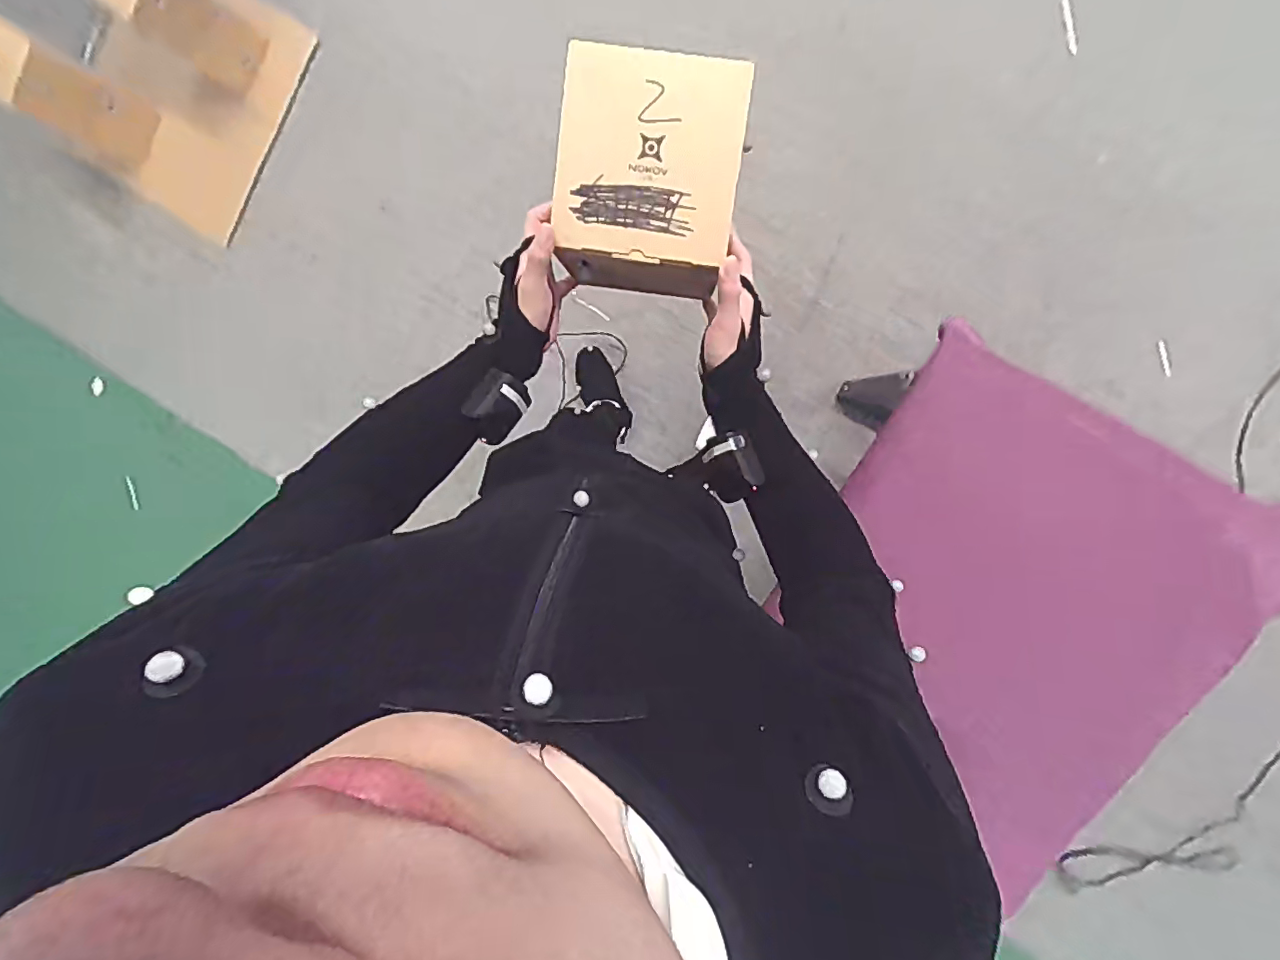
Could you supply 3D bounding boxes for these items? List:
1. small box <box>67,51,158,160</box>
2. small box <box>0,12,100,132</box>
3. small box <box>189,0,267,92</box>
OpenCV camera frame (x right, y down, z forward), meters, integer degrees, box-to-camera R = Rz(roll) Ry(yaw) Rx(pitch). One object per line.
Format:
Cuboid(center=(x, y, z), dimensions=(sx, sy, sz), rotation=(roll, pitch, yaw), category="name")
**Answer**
Cuboid(center=(-1.566, -1.082, 1.570), dimensions=(0.168, 0.176, 0.179), rotation=(35, 101, 1), category="small box")
Cuboid(center=(-1.581, -1.065, 1.410), dimensions=(0.168, 0.176, 0.179), rotation=(35, 101, 0), category="small box")
Cuboid(center=(-1.193, -1.249, 1.508), dimensions=(0.168, 0.176, 0.179), rotation=(36, 100, 1), category="small box")
